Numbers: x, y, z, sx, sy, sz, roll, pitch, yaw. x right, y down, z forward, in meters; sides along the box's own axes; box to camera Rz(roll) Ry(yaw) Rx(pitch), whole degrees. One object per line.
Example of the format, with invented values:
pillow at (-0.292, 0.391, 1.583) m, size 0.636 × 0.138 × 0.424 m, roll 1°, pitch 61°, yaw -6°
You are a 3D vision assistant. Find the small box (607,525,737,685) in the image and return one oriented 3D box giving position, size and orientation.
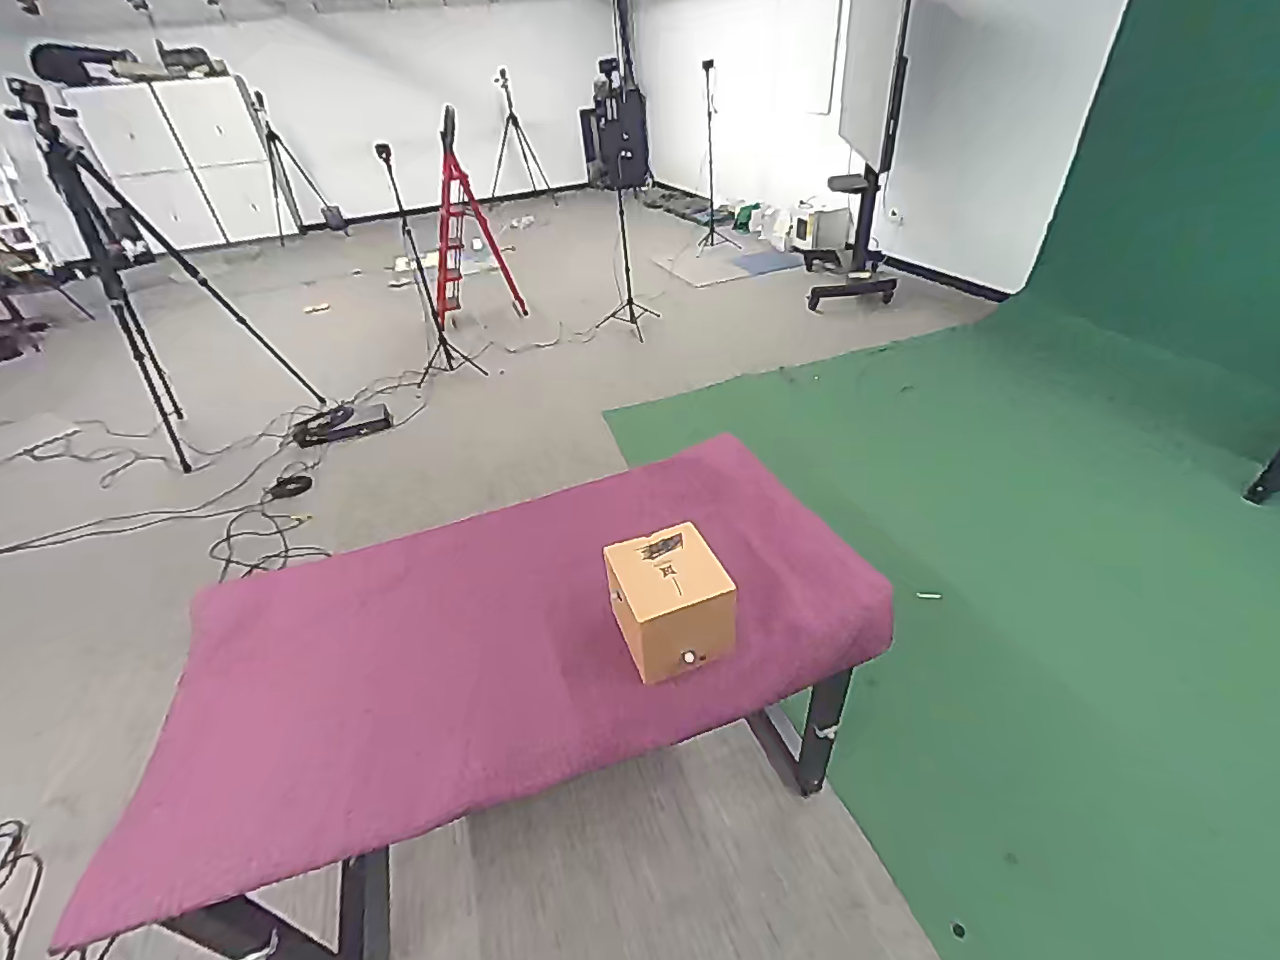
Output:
small box at (0.051, 0.210, 0.921) m, size 0.168 × 0.176 × 0.179 m, roll -16°, pitch 38°, yaw -13°
